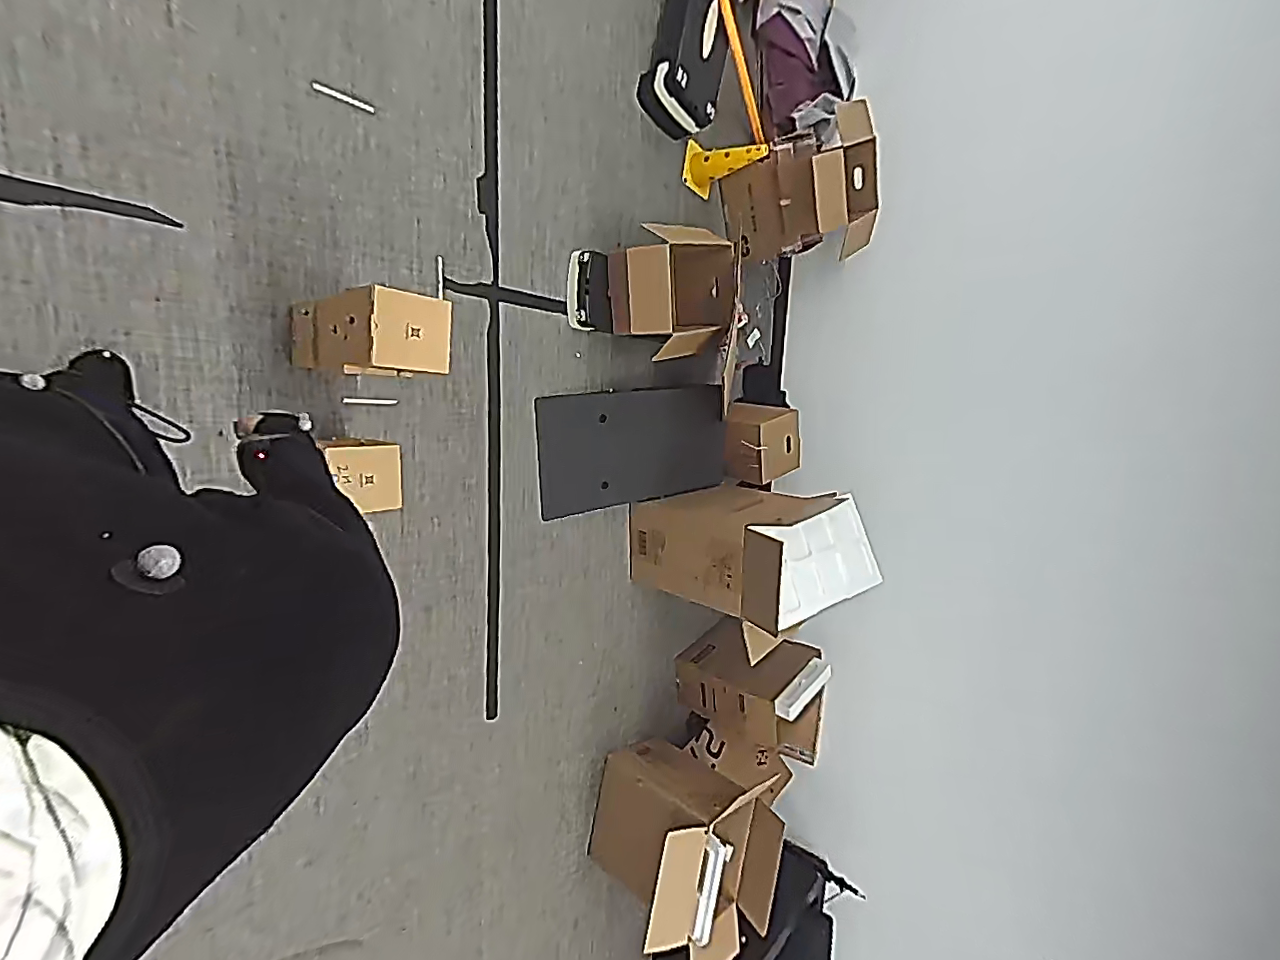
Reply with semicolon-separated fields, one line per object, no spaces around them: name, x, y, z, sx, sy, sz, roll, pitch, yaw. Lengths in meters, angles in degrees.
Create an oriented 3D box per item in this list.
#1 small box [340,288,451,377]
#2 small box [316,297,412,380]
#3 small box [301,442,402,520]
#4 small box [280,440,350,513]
small box;-0.552;-0.328;1.222;0.179;0.176;0.168;-4;102;-47
small box;-0.677;-0.342;1.326;0.168;0.176;0.179;-7;105;-48
small box;-0.722;-0.005;1.354;0.179;0.176;0.168;-8;103;-47
small box;-0.846;-0.016;1.463;0.179;0.176;0.168;-9;104;-46
